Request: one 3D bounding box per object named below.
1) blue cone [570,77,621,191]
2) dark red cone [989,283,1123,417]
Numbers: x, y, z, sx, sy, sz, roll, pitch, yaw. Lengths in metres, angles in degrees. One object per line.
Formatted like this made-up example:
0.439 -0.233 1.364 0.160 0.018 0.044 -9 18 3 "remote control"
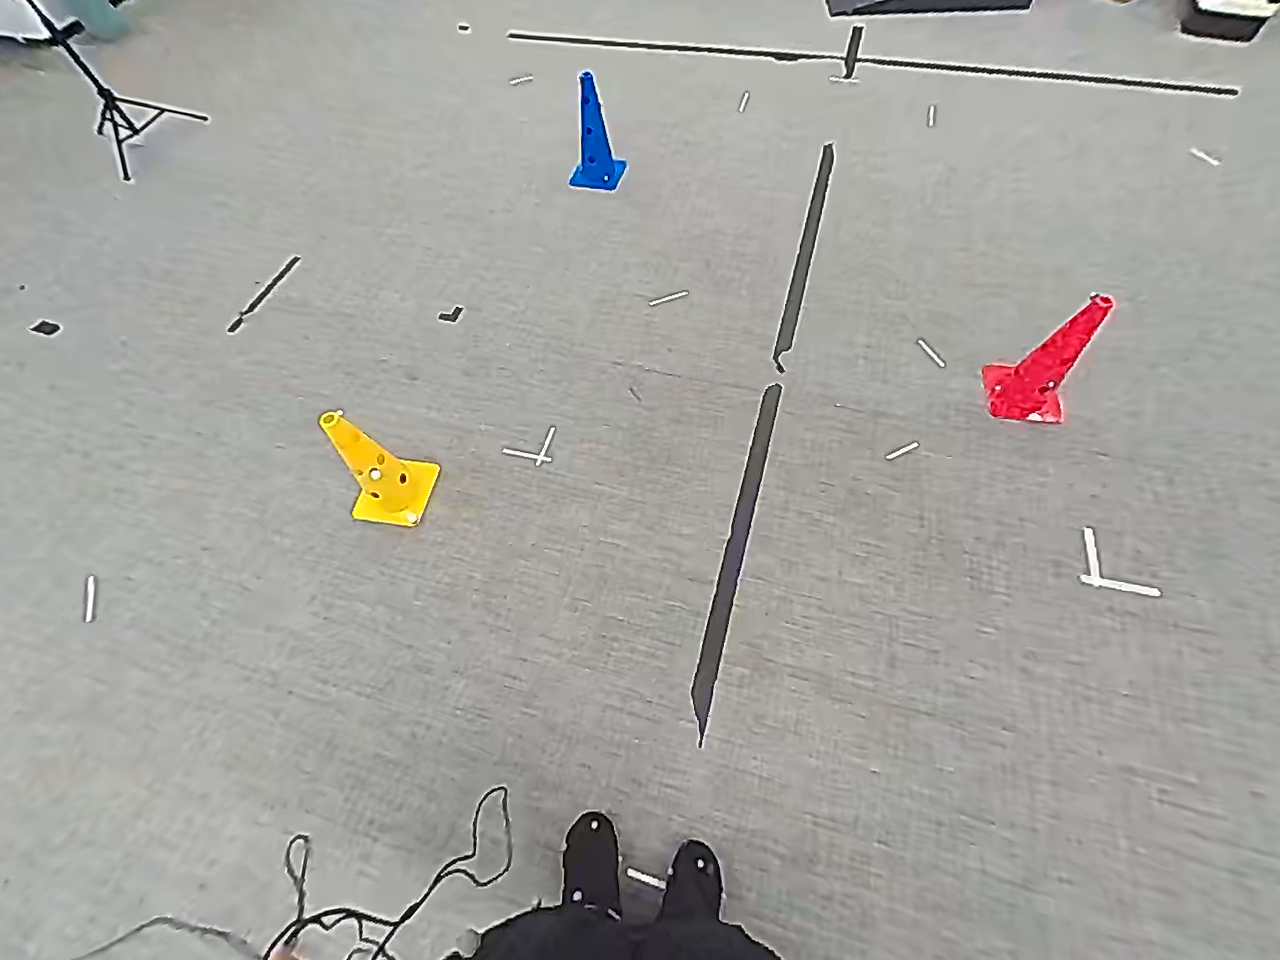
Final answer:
-0.192 -1.330 2.082 0.192 0.380 0.193 13 62 12 "blue cone"
1.113 -0.351 1.419 0.201 0.394 0.202 6 61 8 "dark red cone"
